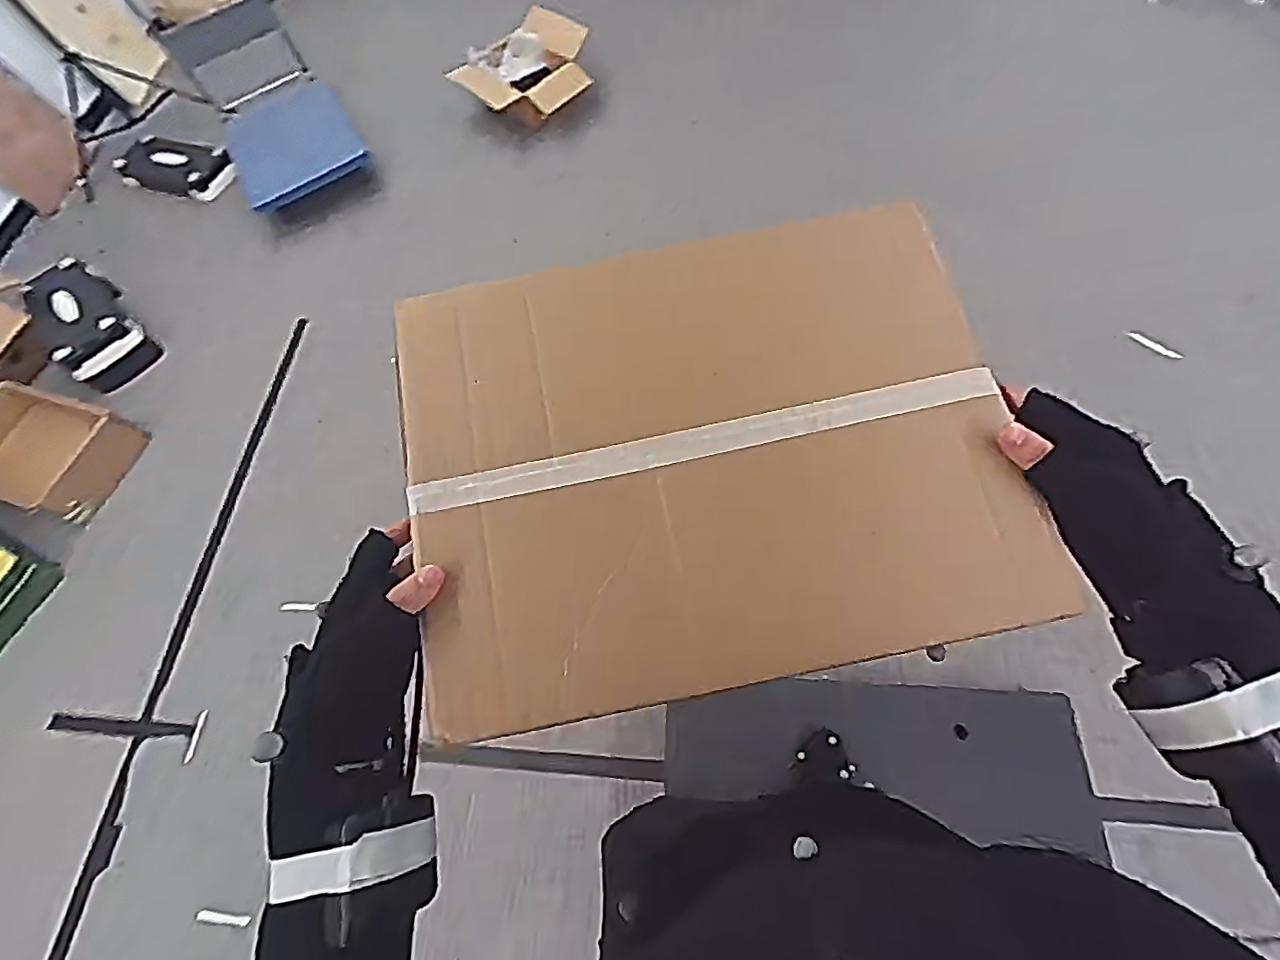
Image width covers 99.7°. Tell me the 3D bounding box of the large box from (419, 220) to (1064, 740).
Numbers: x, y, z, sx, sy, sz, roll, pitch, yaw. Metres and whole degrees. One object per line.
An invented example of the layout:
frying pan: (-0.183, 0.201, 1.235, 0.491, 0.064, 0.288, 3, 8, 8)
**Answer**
large box: (0.059, 0.017, 0.524, 0.408, 0.320, 0.320, -11, 74, -1)

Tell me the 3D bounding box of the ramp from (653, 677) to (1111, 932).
ramp: (0.533, 0.724, 1.255, 0.991, 0.206, 0.509, -2, 64, 7)
